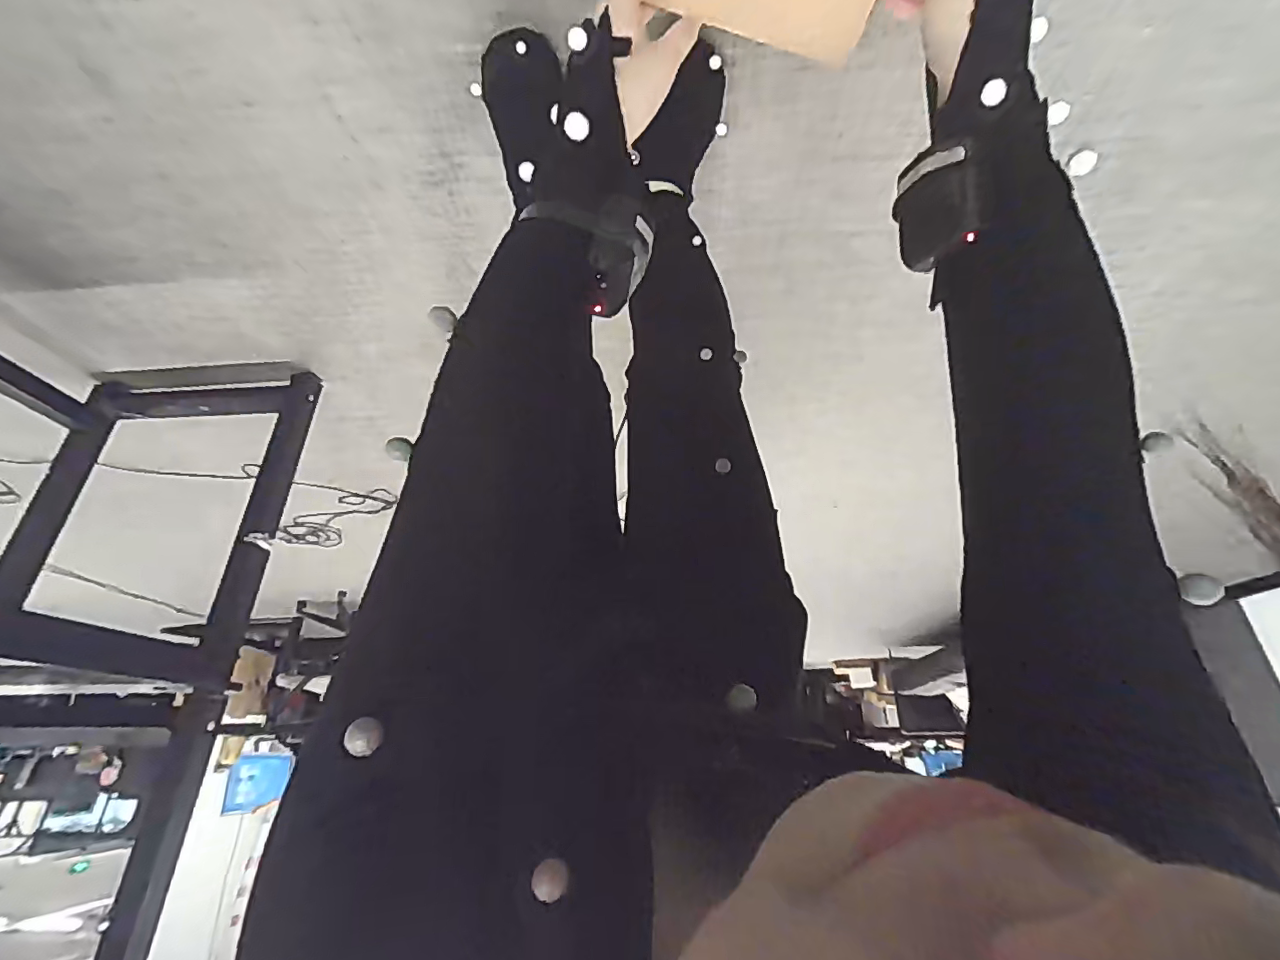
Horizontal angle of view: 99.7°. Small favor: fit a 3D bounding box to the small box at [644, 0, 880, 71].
[{"bbox_3d":[0.104,-0.436,0.373,0.179,0.176,0.168,14,150,-6],"label":"small box"}]
